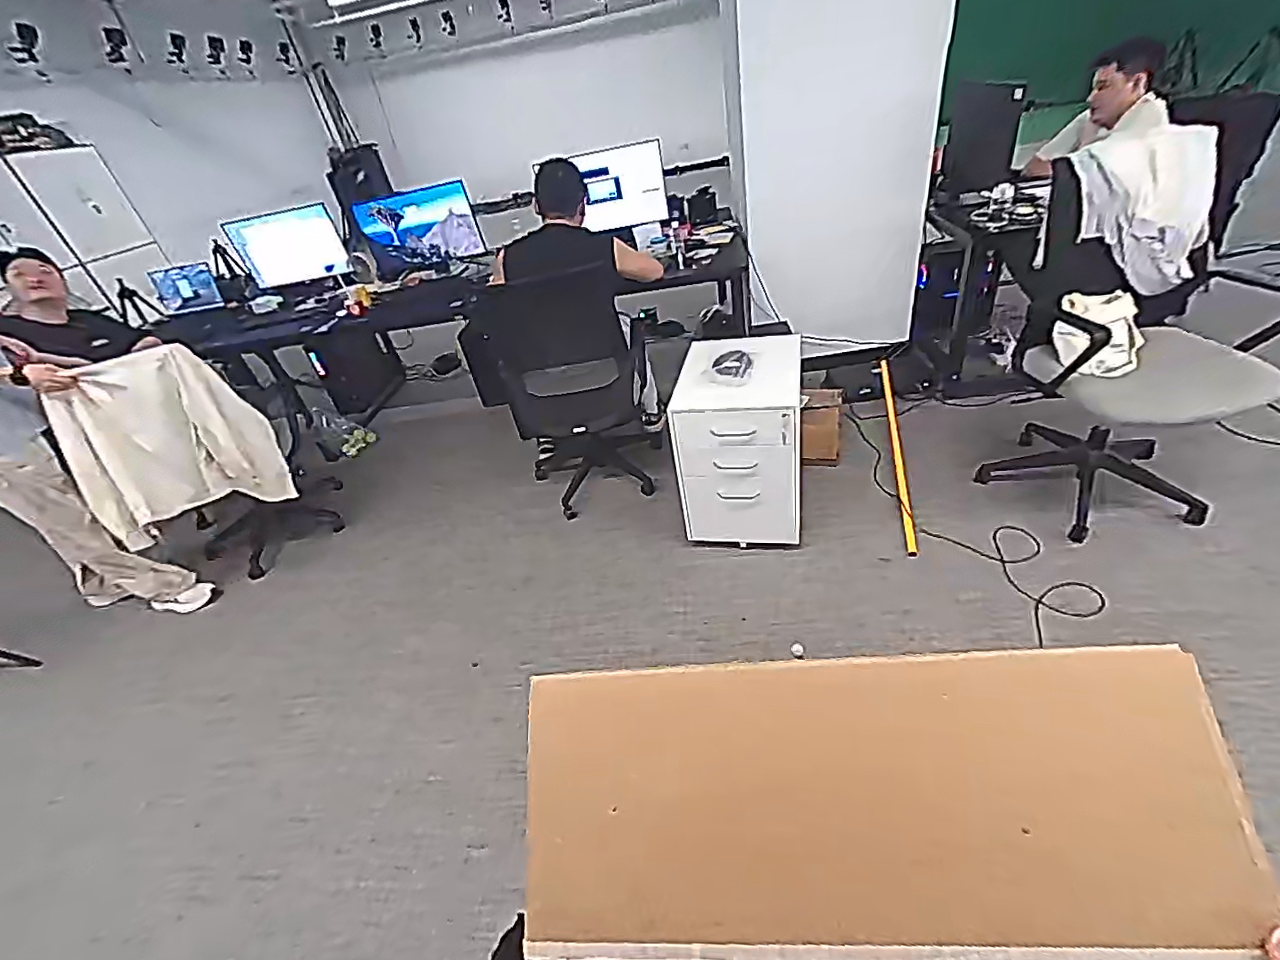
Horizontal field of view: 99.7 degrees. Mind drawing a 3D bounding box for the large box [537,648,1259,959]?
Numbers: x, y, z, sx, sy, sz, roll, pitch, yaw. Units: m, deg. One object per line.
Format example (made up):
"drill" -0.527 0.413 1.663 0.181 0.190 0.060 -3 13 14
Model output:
"large box" 0.157 0.318 0.450 0.408 0.320 0.320 -6 70 7
